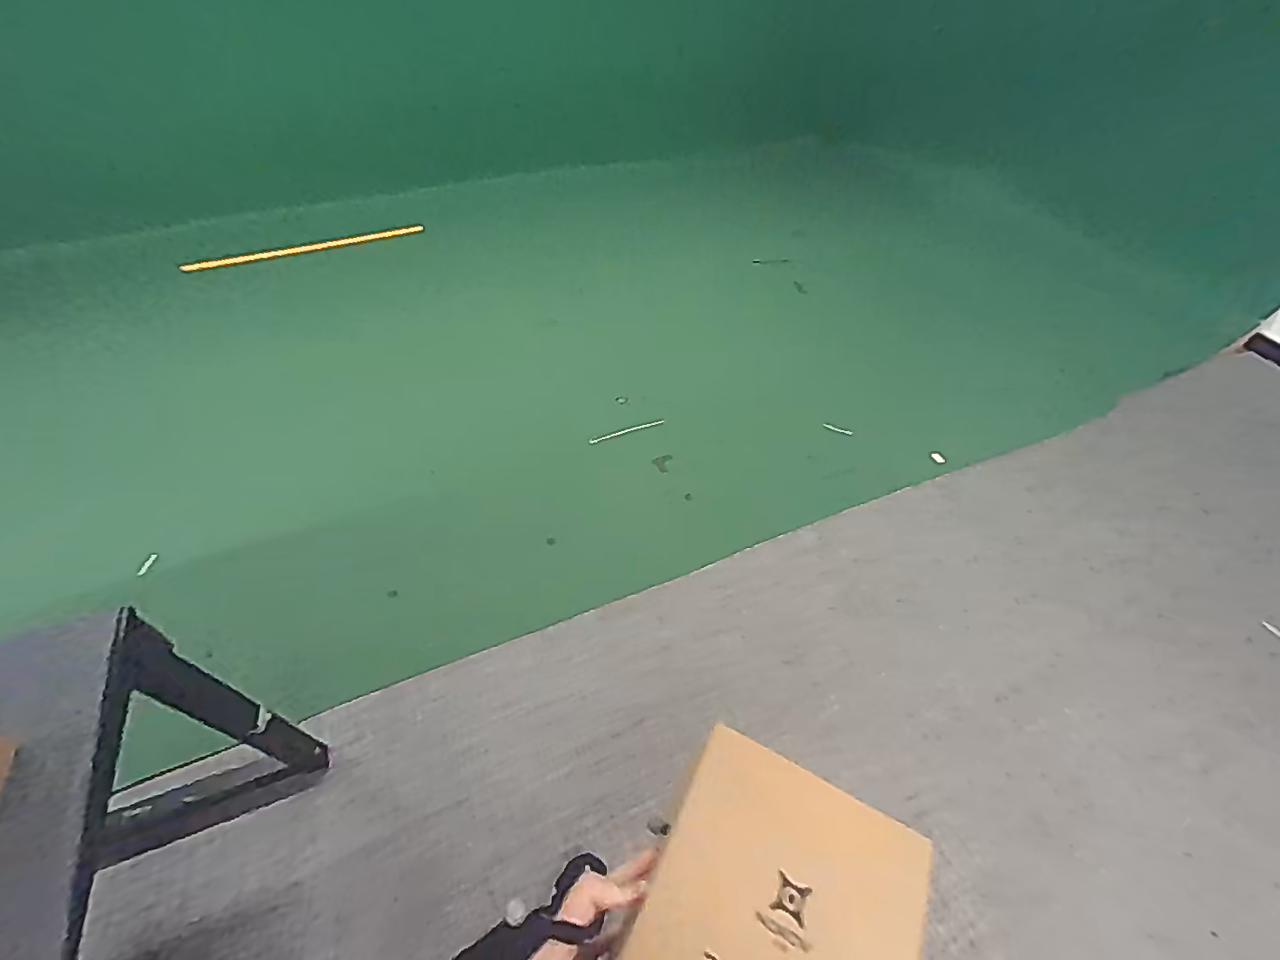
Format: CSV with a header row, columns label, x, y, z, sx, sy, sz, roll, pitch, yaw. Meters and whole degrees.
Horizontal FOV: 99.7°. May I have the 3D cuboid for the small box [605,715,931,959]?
label,x,y,z,sx,sy,sz,roll,pitch,yaw
small box,0.083,0.317,0.400,0.168,0.176,0.179,25,51,13
